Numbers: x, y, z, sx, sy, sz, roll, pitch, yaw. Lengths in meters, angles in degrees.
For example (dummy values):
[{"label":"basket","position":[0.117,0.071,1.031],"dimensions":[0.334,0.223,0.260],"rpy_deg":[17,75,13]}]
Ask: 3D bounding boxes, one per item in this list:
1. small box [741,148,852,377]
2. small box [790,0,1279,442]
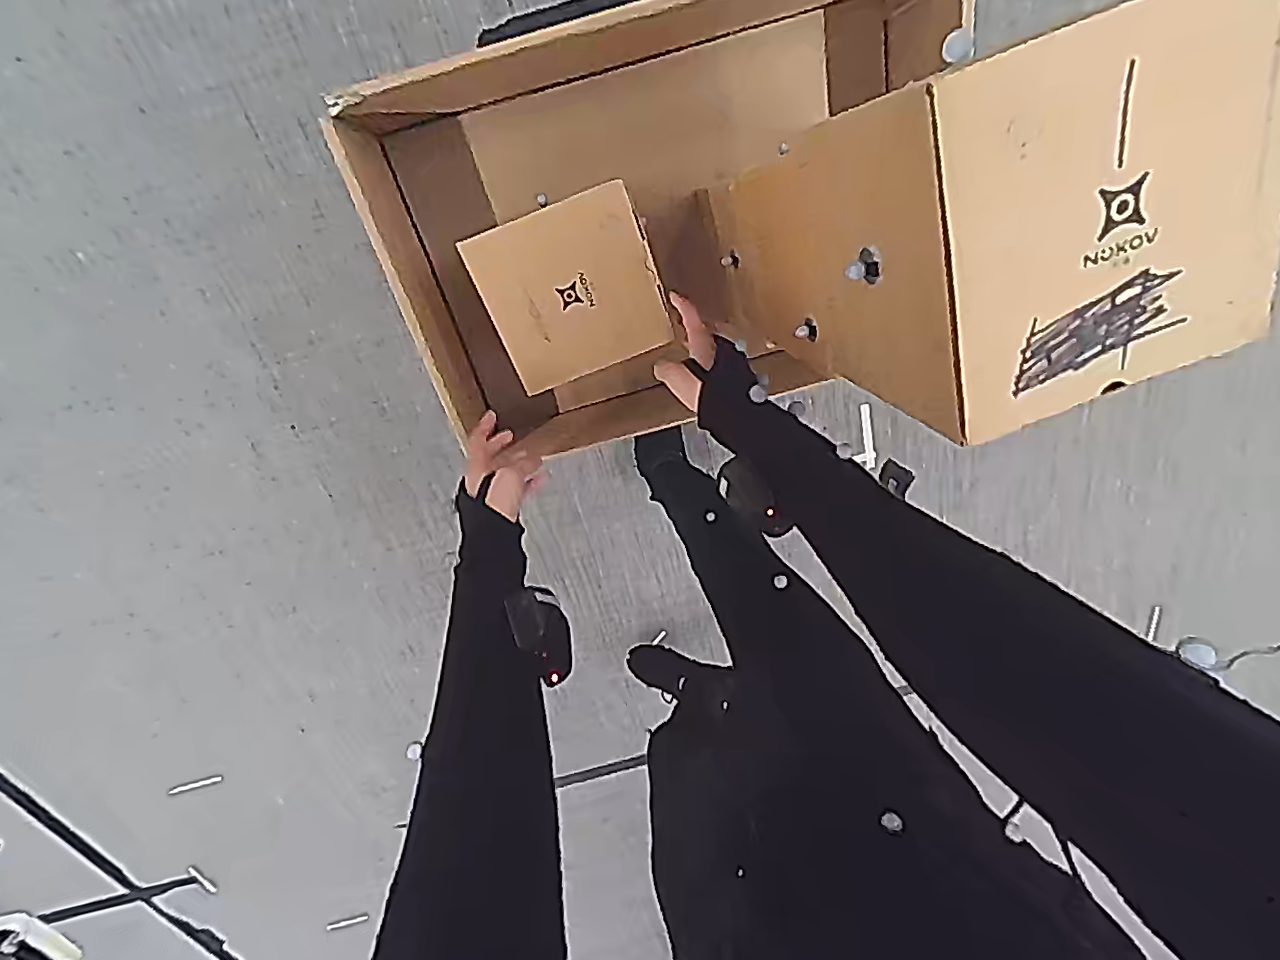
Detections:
[{"label":"small box","position":[0.201,-0.214,0.479],"dimensions":[0.168,0.176,0.179],"rpy_deg":[-18,117,1]},{"label":"small box","position":[0.210,-0.153,0.326],"dimensions":[0.168,0.176,0.179],"rpy_deg":[-21,116,3]}]
